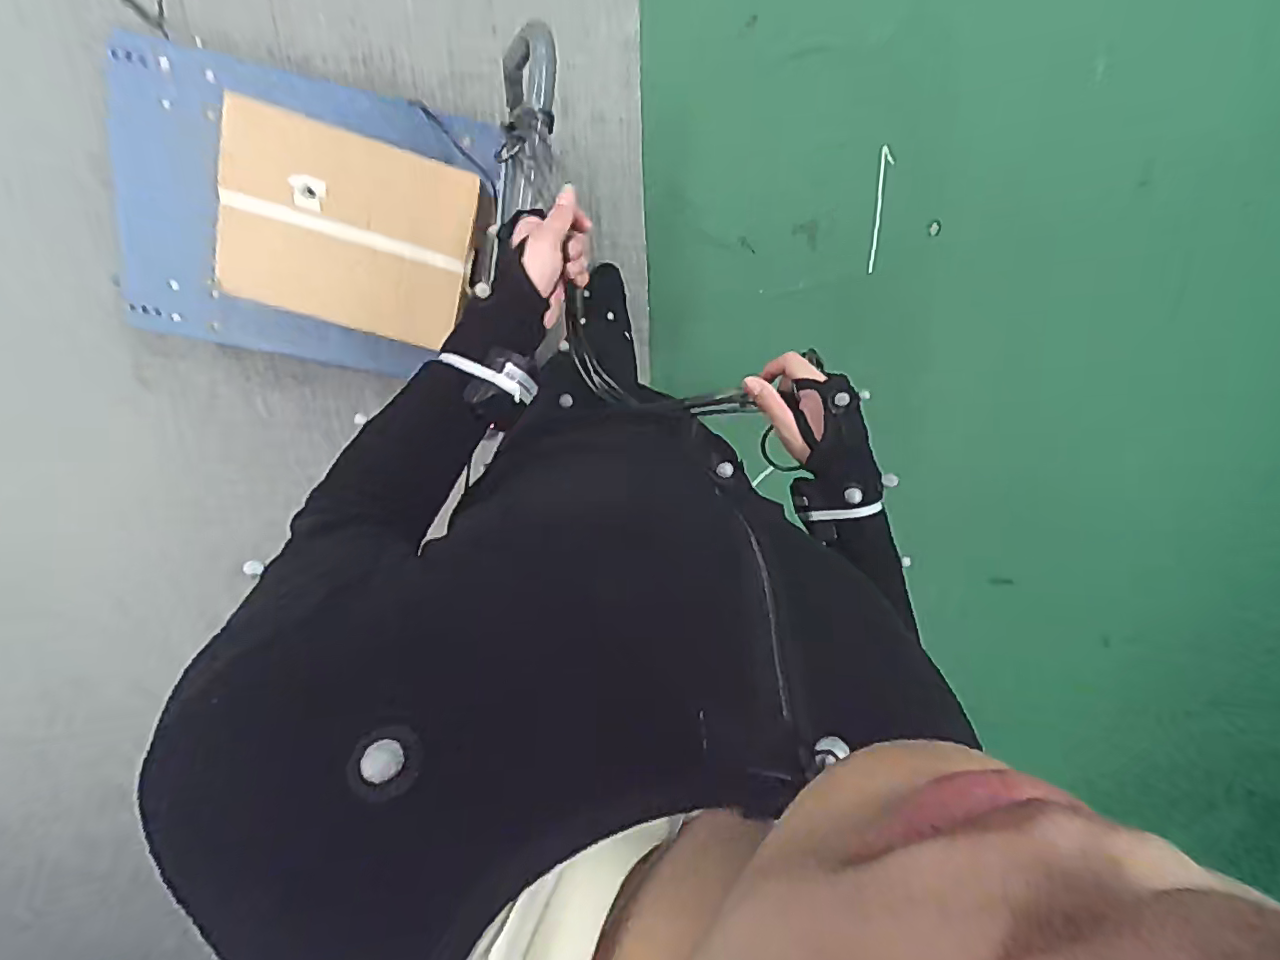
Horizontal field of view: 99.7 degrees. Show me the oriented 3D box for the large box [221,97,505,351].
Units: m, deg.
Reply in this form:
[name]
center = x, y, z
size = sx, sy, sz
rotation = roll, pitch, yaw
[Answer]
[large box]
center = -0.509, -0.470, 1.067
size = 0.408, 0.320, 0.320
rotation = 14, 106, -11
